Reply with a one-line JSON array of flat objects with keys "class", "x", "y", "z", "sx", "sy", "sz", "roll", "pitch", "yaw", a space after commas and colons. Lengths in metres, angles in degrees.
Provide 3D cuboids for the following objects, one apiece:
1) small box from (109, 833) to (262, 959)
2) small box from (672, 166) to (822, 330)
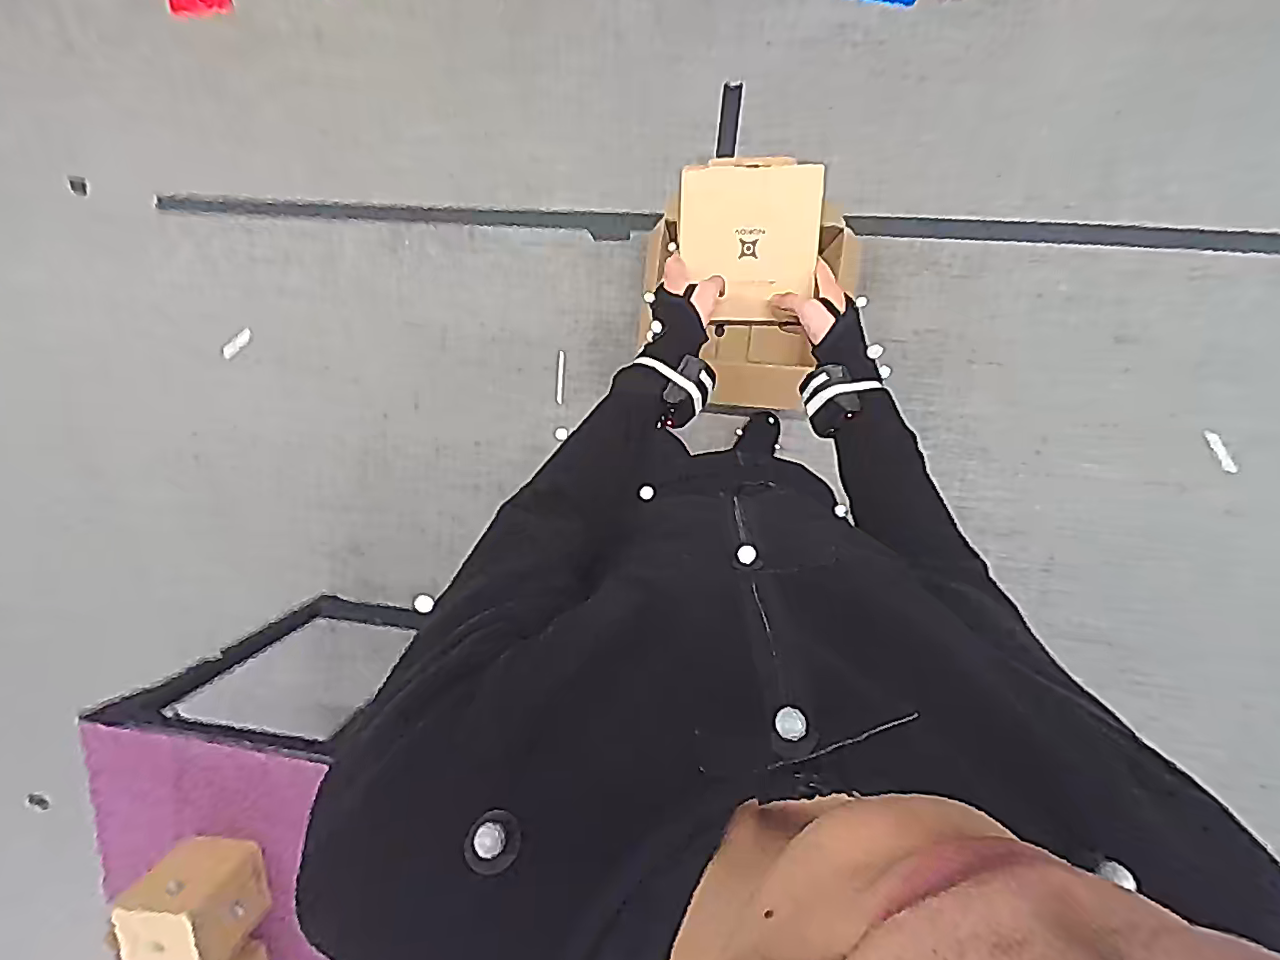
[{"class": "small box", "x": -0.922, "y": 0.871, "z": 1.119, "sx": 0.179, "sy": 0.176, "sz": 0.168, "roll": 0, "pitch": 101, "yaw": 8}, {"class": "small box", "x": 0.130, "y": -0.296, "z": 0.723, "sx": 0.168, "sy": 0.176, "sz": 0.179, "roll": 1, "pitch": 104, "yaw": 2}]
